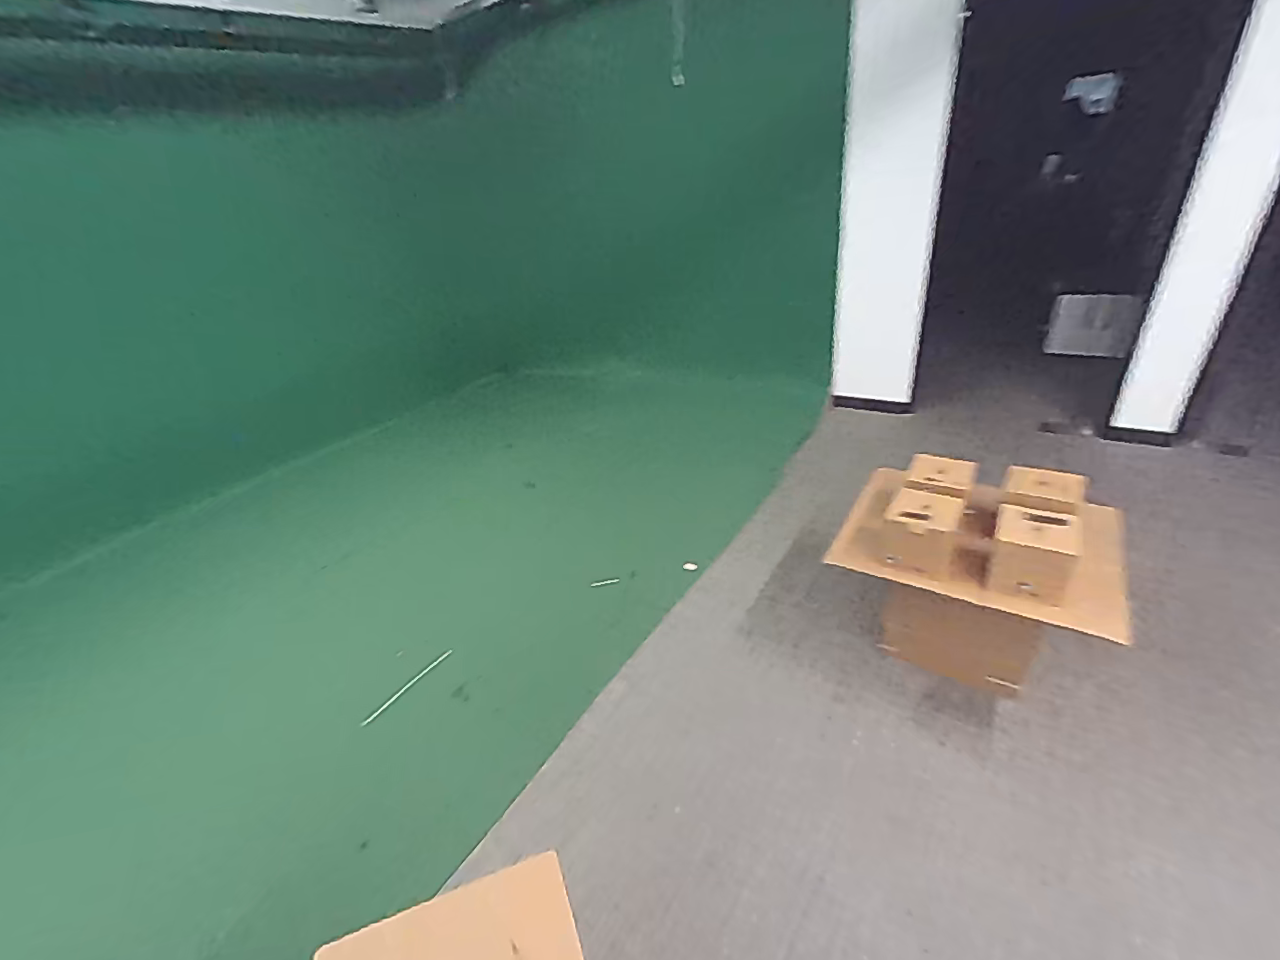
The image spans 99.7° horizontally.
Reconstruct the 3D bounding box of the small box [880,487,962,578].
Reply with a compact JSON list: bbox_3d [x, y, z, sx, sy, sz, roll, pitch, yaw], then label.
[{"bbox_3d":[0.784,0.147,1.516,0.168,0.176,0.179,14,36,34],"label":"small box"}]

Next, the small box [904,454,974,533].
[{"bbox_3d":[0.912,0.040,1.664,0.168,0.176,0.179,11,34,33],"label":"small box"}]
